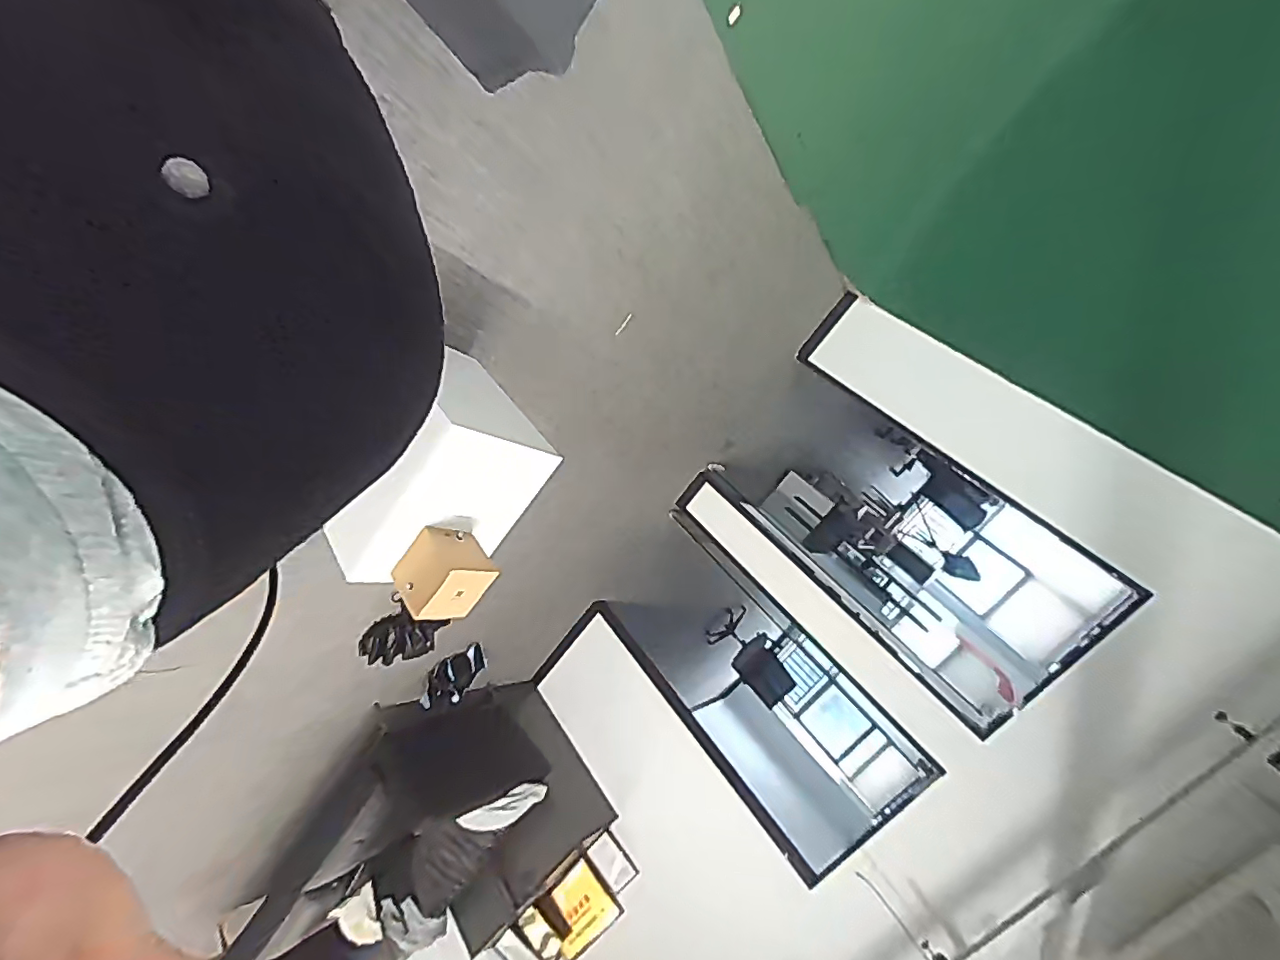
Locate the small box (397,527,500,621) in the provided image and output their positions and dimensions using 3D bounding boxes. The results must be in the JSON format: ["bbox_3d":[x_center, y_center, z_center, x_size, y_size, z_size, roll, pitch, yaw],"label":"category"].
[{"bbox_3d":[-0.516,0.250,1.439,0.179,0.176,0.168,-53,151,12],"label":"small box"}]
